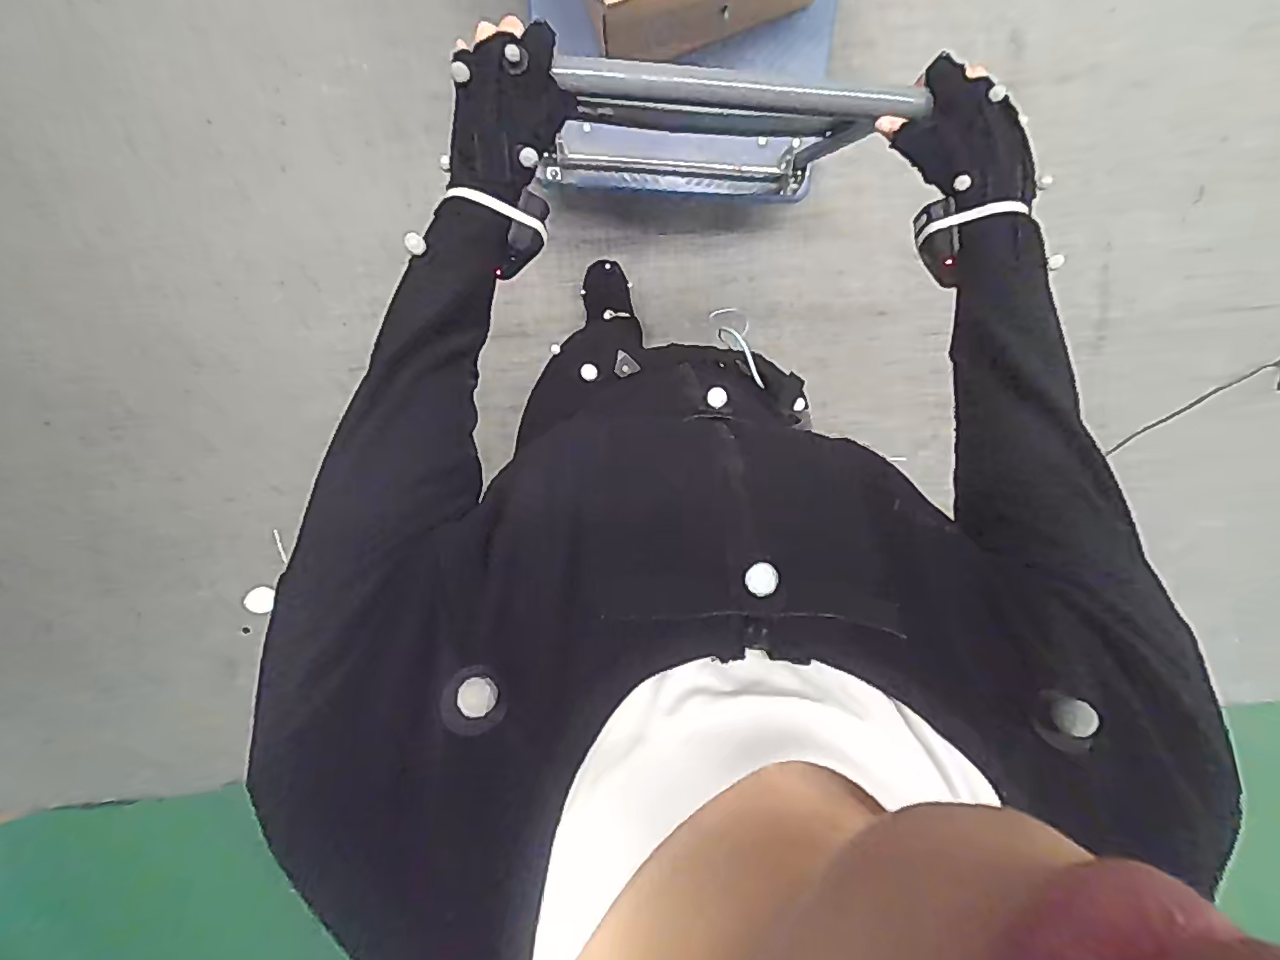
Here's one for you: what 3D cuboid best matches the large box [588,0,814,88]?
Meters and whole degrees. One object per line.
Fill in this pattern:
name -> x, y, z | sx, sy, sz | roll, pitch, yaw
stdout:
large box -> 0.089, -0.912, 0.857 | 0.408, 0.320, 0.320 | -18, 108, 7
